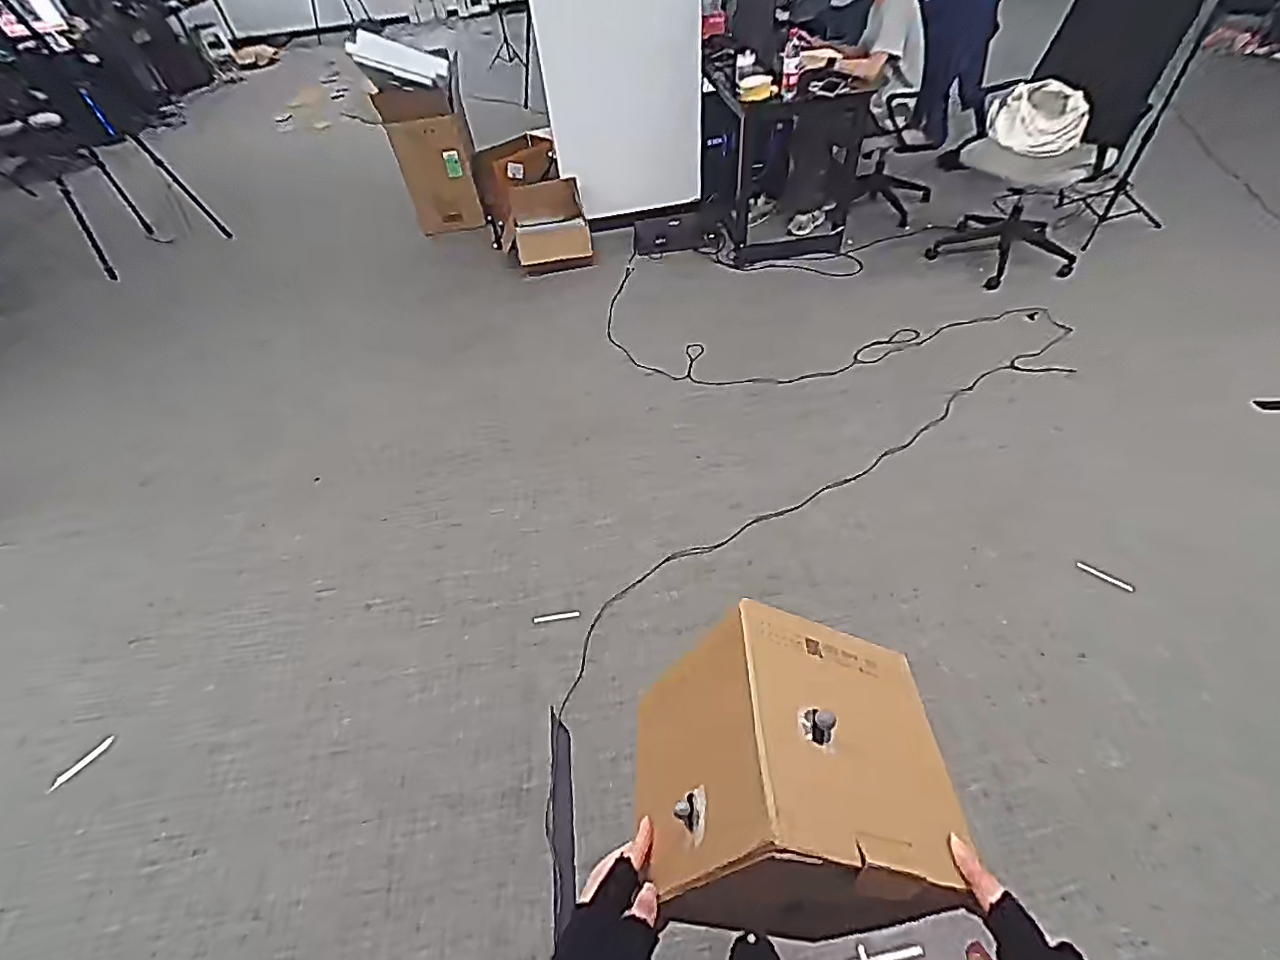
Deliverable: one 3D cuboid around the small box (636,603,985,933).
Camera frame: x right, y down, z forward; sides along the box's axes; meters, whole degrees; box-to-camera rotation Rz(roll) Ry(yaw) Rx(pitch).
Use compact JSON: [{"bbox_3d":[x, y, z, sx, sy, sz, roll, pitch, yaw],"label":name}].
[{"bbox_3d":[0.107,0.224,0.422,0.168,0.179,0.176,23,38,-16],"label":"small box"}]
